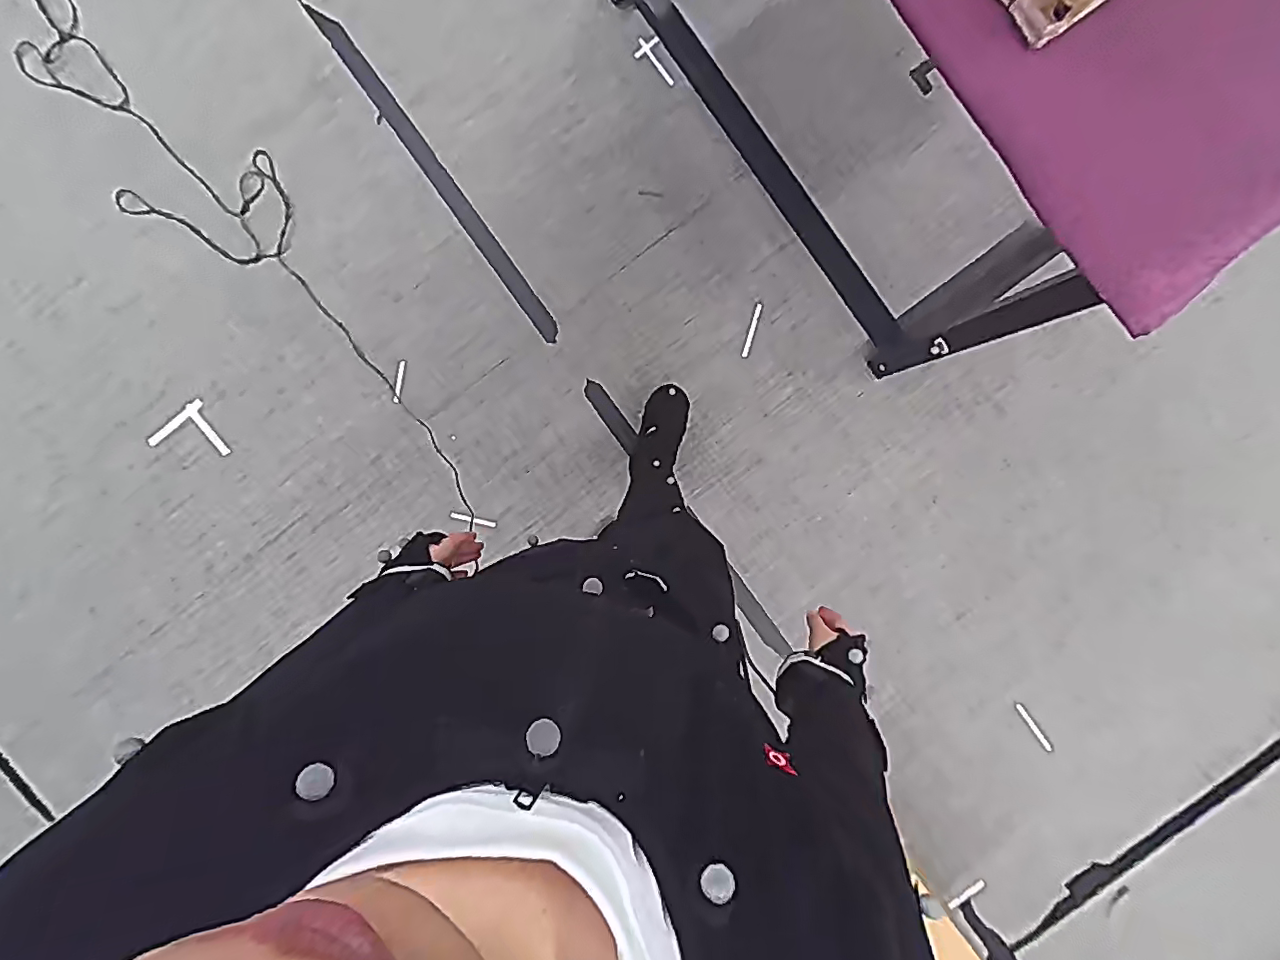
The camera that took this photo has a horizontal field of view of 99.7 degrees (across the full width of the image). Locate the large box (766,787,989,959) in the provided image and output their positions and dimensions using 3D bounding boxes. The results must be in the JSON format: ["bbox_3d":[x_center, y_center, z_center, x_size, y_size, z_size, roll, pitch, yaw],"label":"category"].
[{"bbox_3d":[0.564,1.049,1.273,0.320,0.320,0.408,-38,91,1],"label":"large box"}]
